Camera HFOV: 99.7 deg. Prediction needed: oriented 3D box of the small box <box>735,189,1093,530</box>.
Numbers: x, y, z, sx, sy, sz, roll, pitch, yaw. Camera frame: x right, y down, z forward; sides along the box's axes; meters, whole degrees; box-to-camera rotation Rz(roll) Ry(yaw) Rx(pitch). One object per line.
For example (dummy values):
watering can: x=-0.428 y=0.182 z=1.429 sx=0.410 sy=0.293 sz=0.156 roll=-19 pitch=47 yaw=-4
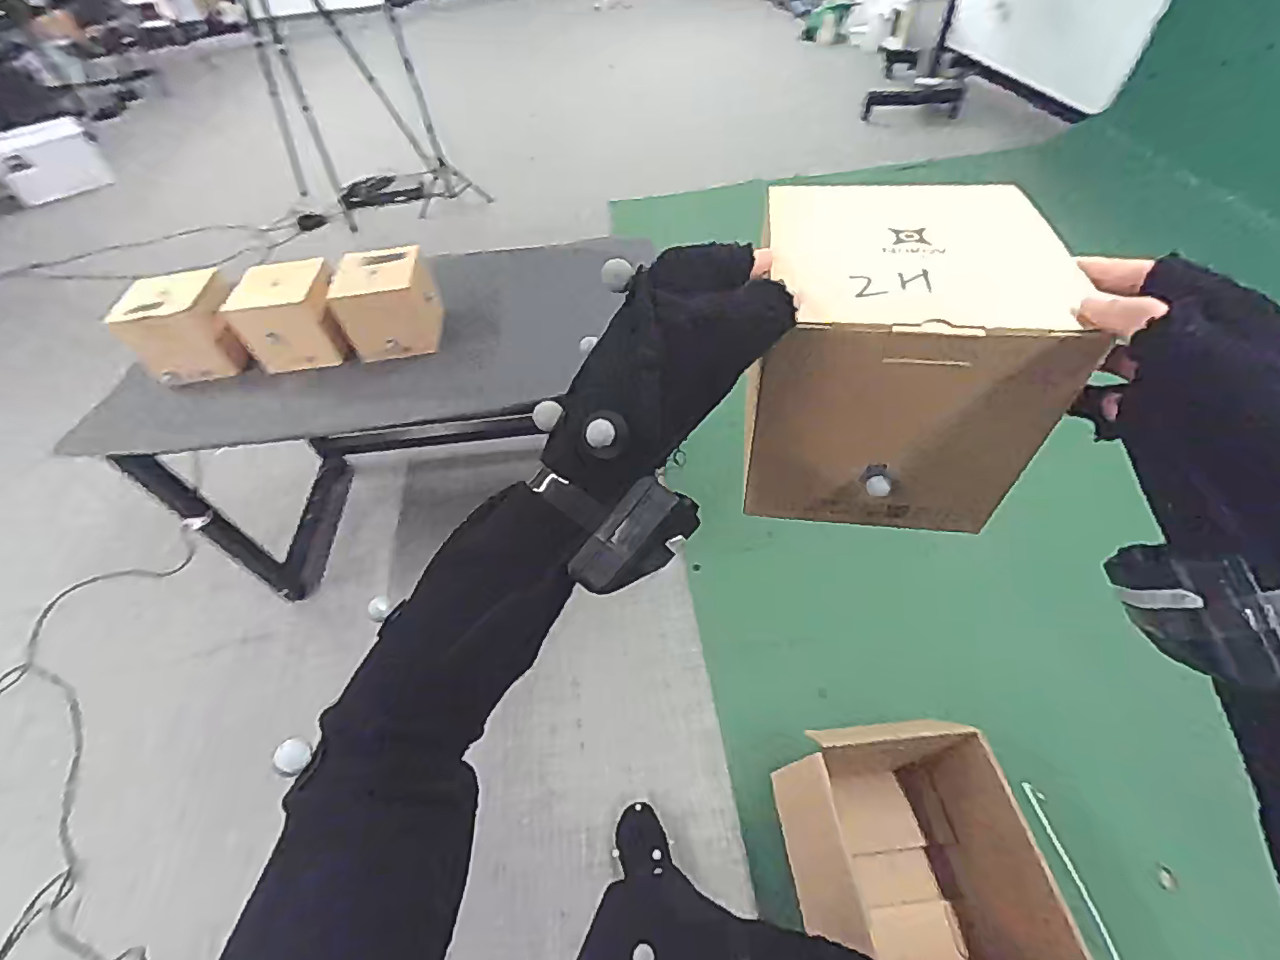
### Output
small box: x=0.158 y=-0.087 z=0.388 sx=0.168 sy=0.176 sz=0.179 roll=4 pitch=49 yaw=8

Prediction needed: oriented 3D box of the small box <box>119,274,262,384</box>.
small box: x=-0.982 y=-0.330 z=1.211 sx=0.168 sy=0.176 sz=0.179 roll=-10 pitch=49 yaw=-3

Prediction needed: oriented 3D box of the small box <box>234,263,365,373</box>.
small box: x=-0.747 y=-0.355 z=1.211 sx=0.168 sy=0.176 sz=0.179 roll=-8 pitch=49 yaw=0
